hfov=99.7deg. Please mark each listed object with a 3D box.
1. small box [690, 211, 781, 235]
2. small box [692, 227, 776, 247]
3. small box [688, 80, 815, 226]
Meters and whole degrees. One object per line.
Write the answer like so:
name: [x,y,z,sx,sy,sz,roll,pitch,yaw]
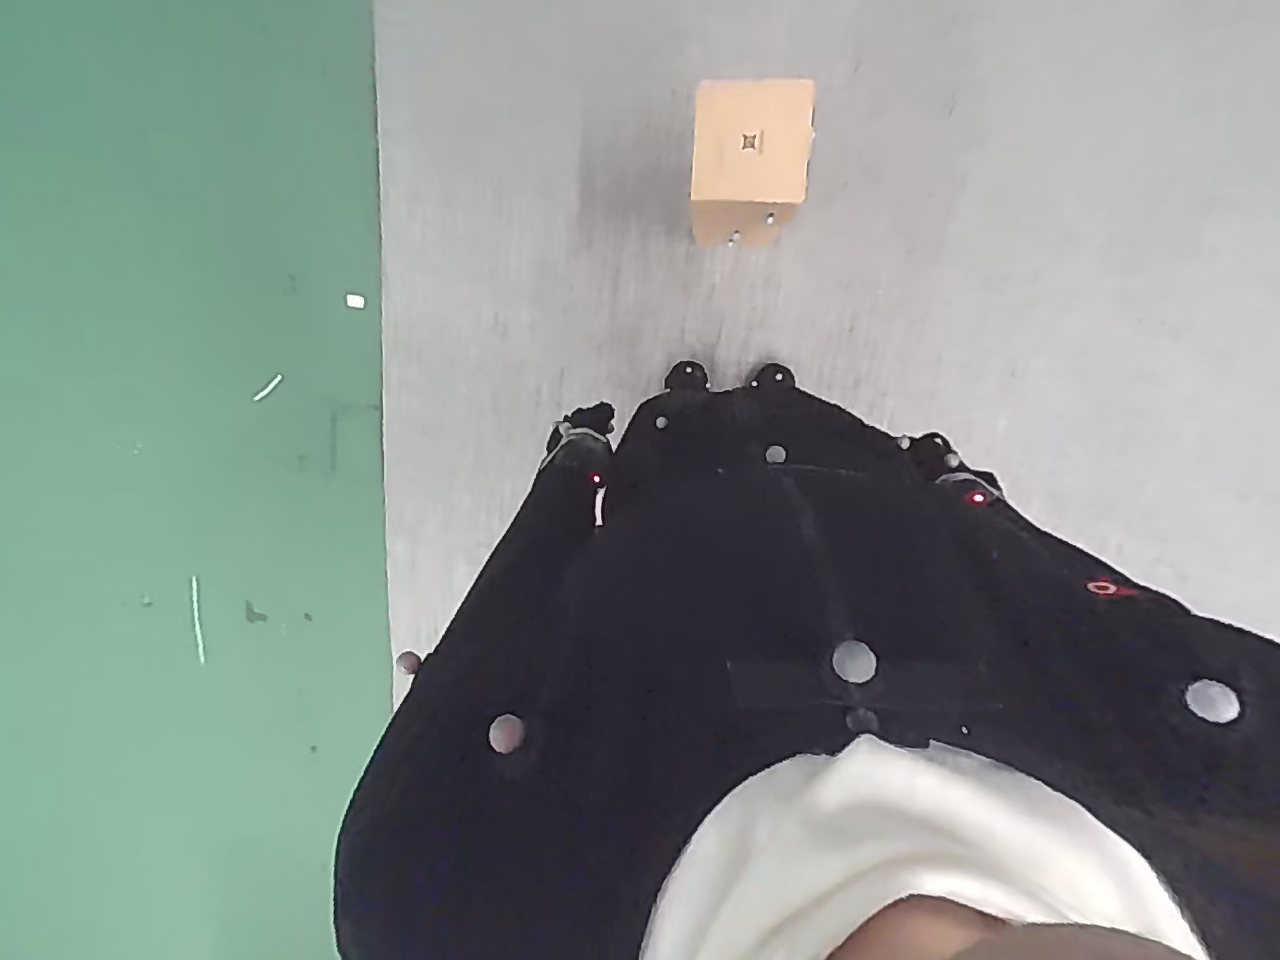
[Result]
small box: [0.189,-0.577,1.041,0.179,0.176,0.168,4,104,6]
small box: [0.212,-0.620,1.197,0.179,0.176,0.168,6,104,7]
small box: [0.175,-0.524,0.887,0.179,0.176,0.168,4,103,8]
